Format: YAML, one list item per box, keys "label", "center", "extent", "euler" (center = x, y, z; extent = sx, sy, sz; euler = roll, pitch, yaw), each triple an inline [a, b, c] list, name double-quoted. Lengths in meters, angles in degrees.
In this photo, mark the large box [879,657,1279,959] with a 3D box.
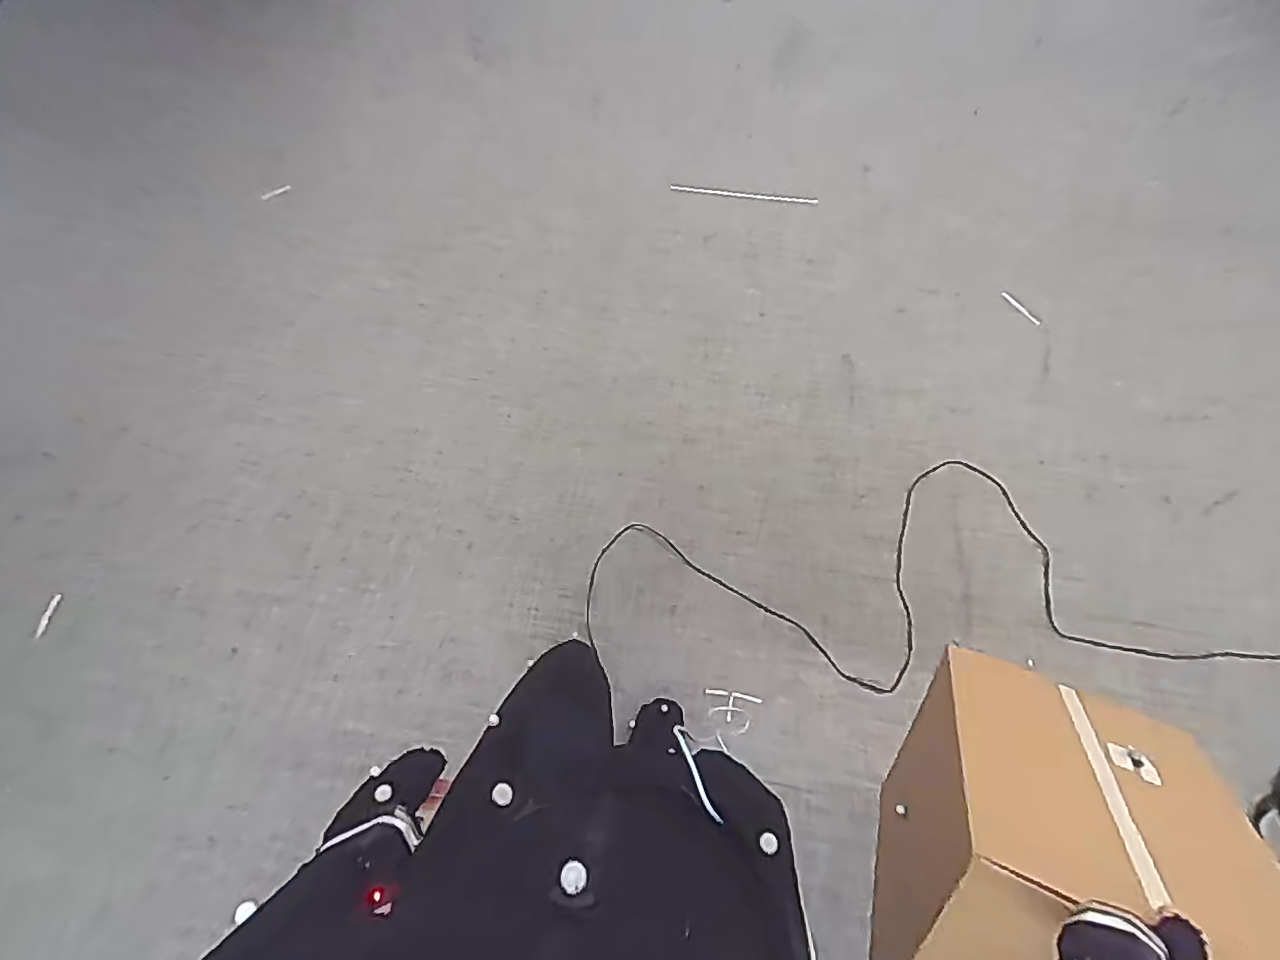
- label: "large box"
  center: [0.507, 0.507, 0.676]
  extent: [0.320, 0.408, 0.320]
  euler: [20, 111, 21]
